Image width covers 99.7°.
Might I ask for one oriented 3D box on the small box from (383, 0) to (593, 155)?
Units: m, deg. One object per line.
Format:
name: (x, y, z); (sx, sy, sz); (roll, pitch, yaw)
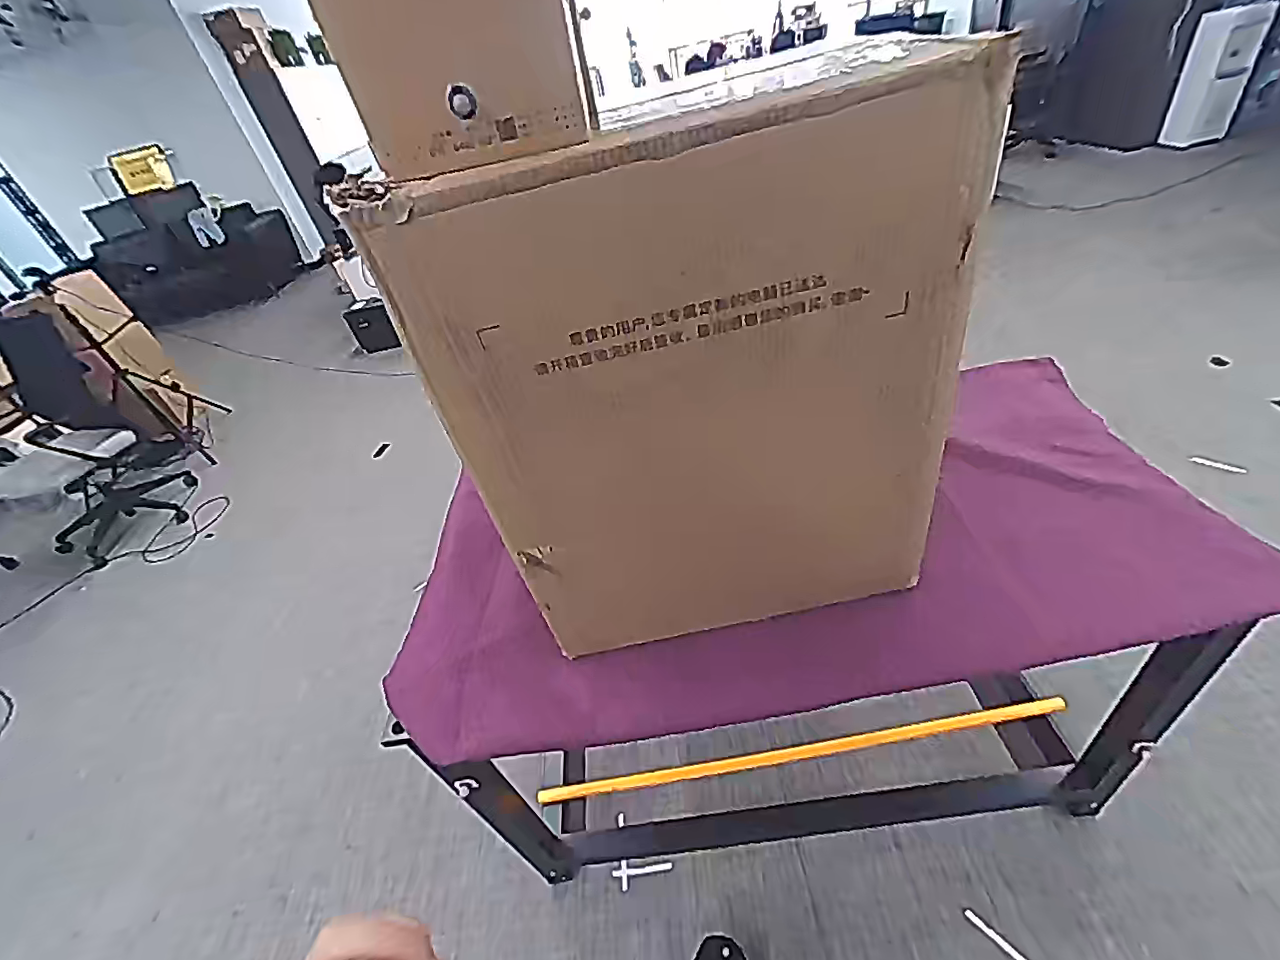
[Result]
small box: (-0.149, -0.467, 0.573); (0.179, 0.176, 0.168); (-12, 38, 2)
